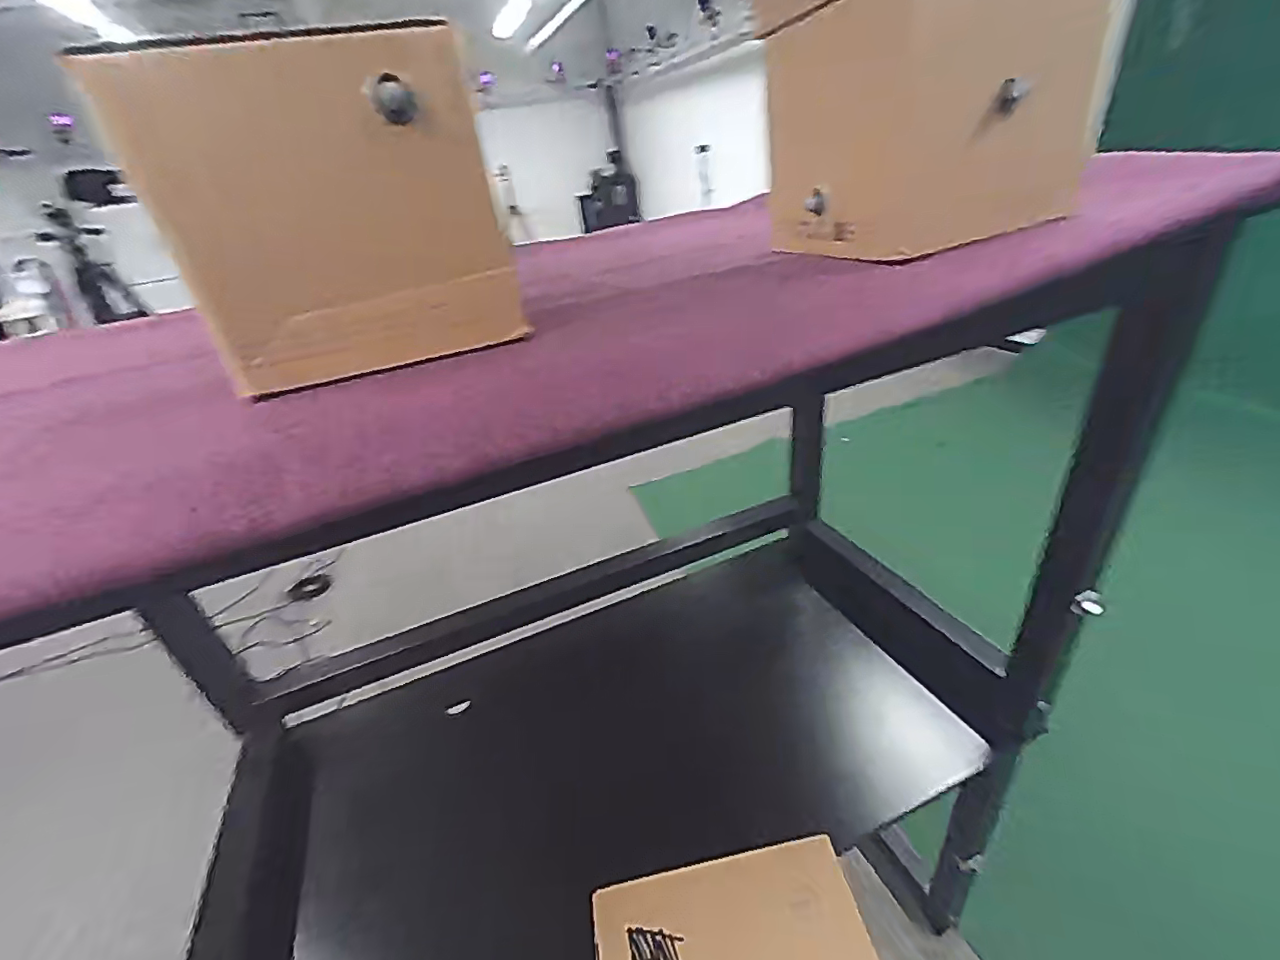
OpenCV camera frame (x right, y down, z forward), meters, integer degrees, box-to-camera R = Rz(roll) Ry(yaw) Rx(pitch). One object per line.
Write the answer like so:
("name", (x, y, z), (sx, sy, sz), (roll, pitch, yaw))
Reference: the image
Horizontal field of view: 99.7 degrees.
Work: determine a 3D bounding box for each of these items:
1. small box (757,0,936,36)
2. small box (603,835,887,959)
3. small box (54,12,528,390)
("small box", (0.184, -0.424, 0.351), (0.168, 0.176, 0.179), (-19, 30, -13))
("small box", (0.081, 0.381, 0.358), (0.179, 0.176, 0.168), (-12, 30, -1))
("small box", (-0.190, -0.171, 0.358), (0.179, 0.176, 0.168), (-17, 31, -14))
